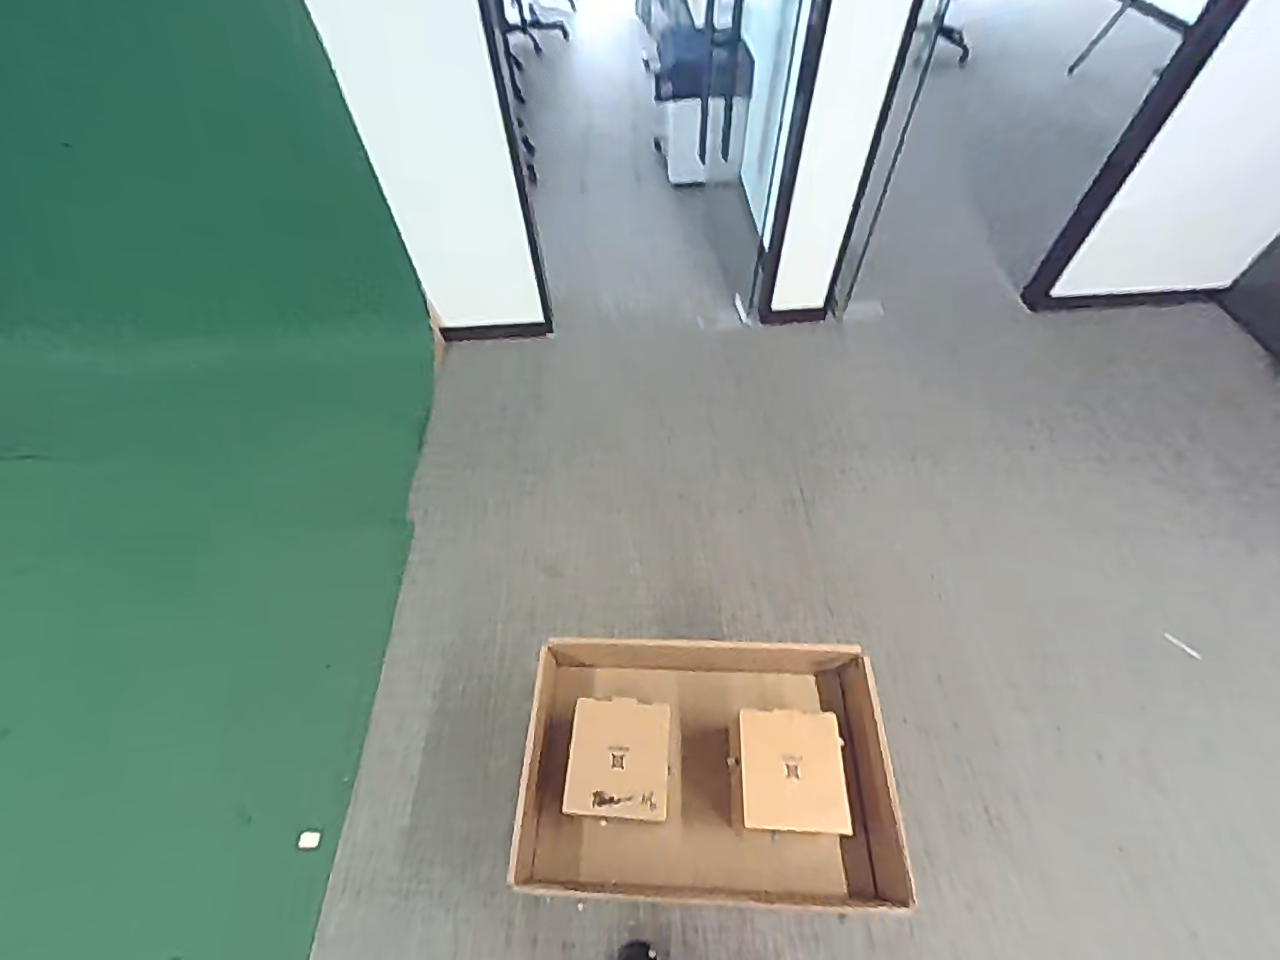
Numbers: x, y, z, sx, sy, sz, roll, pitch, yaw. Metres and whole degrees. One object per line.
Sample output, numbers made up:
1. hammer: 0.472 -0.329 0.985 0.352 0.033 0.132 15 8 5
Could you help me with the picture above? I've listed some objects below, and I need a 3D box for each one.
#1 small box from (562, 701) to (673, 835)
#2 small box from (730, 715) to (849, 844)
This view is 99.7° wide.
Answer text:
1. small box: -0.031 0.510 0.955 0.168 0.176 0.179 3 54 6
2. small box: 0.248 0.522 0.938 0.168 0.176 0.179 2 54 4
